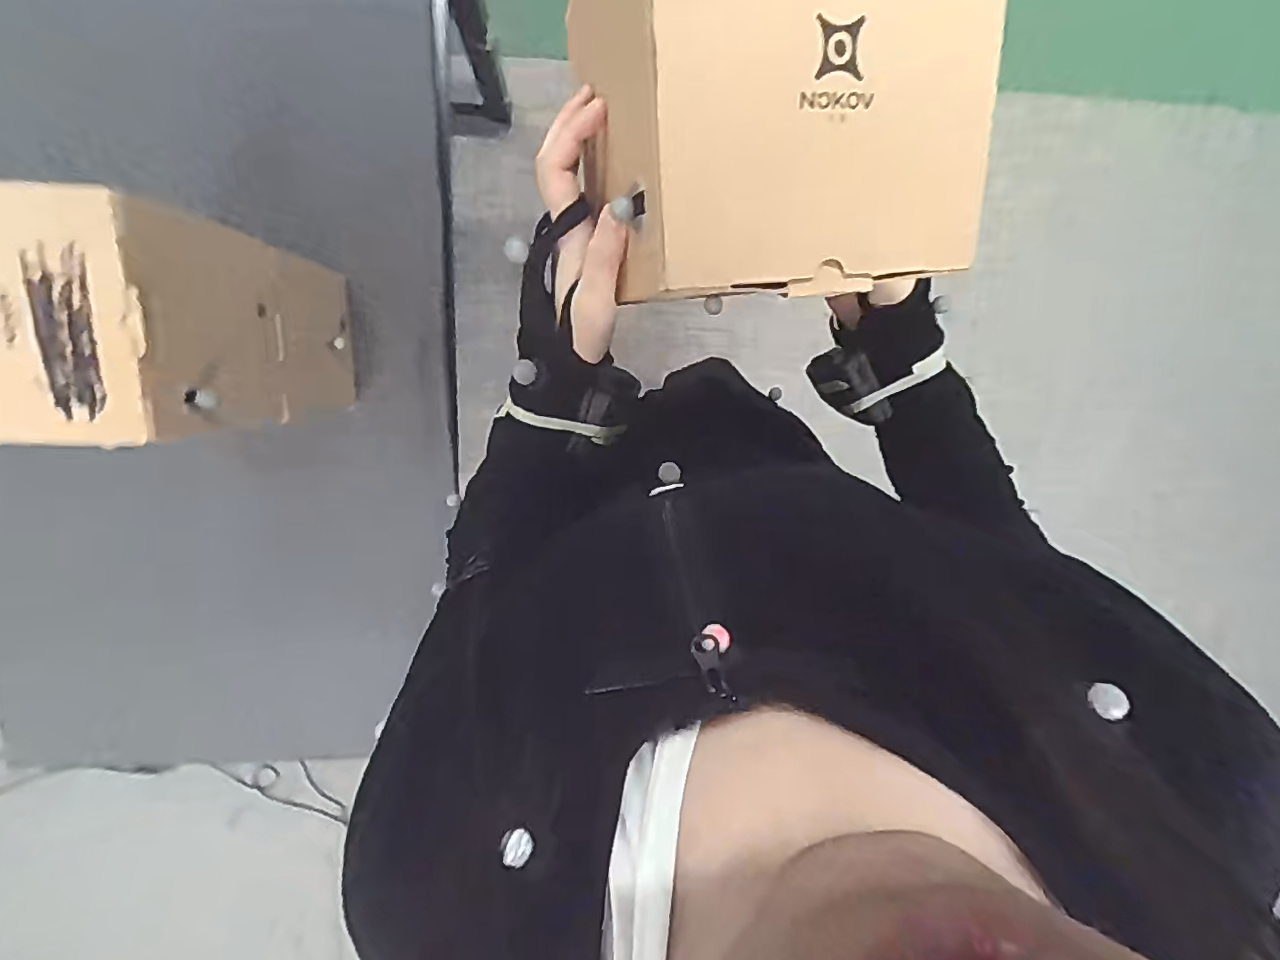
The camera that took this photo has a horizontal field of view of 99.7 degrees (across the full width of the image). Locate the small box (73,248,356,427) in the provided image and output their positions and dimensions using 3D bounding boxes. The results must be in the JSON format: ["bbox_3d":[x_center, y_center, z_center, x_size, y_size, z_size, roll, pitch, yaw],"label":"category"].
[{"bbox_3d":[-0.443,-0.148,0.595,0.179,0.176,0.168,-1,102,-6],"label":"small box"}]

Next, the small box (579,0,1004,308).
[{"bbox_3d":[0.065,-0.196,0.310,0.168,0.176,0.179,-9,109,-14],"label":"small box"}]
